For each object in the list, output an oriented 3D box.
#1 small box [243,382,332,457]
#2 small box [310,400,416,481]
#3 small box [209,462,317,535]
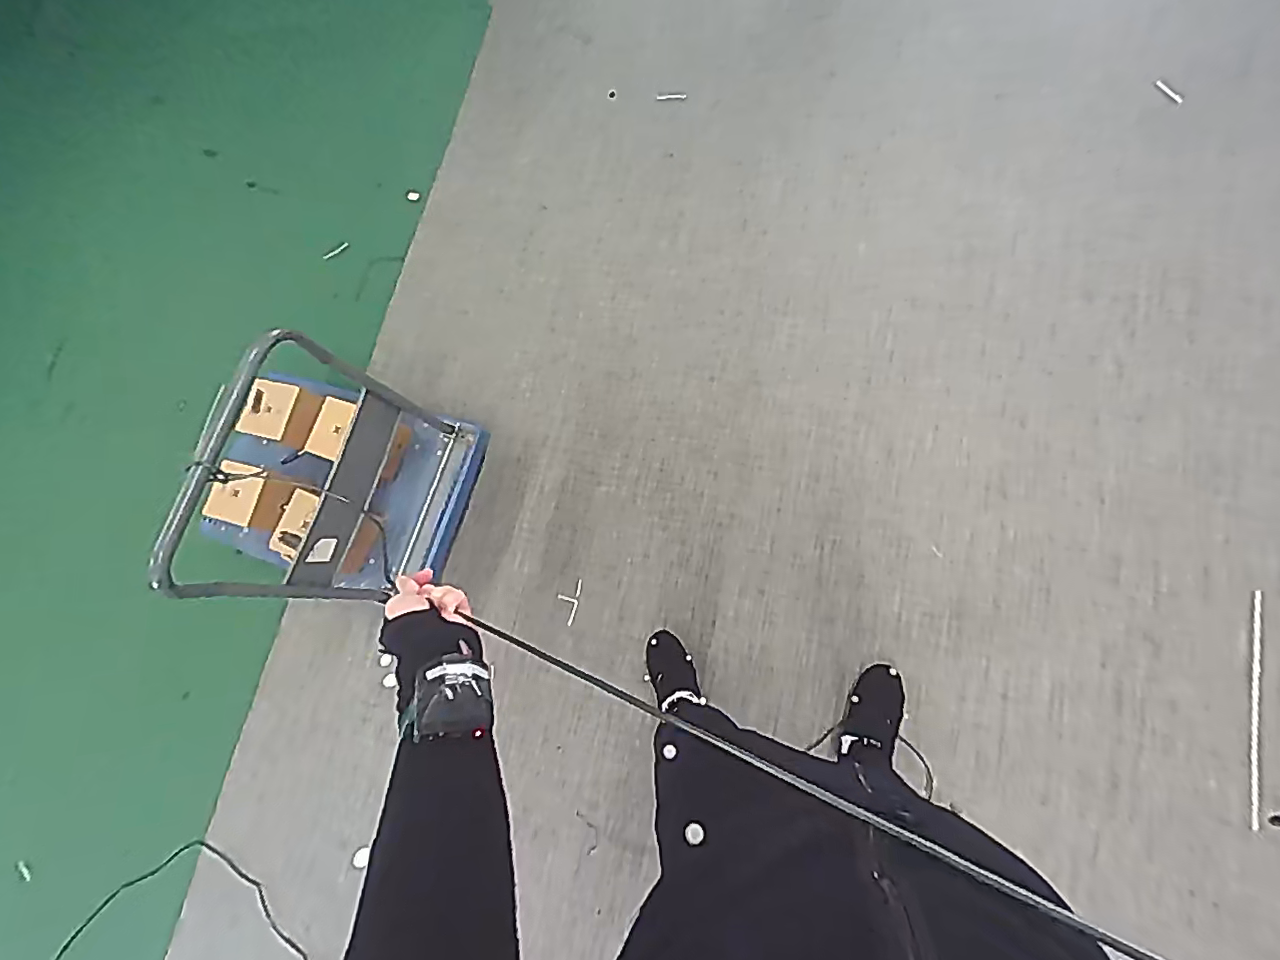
[{"bbox_3d":[-1.040,-0.179,1.640,0.179,0.176,0.168,12,81,16],"label":"small box"},{"bbox_3d":[-0.792,-0.109,1.558,0.179,0.176,0.168,17,81,17],"label":"small box"},{"bbox_3d":[-1.102,0.061,1.597,0.179,0.176,0.168,12,79,17],"label":"small box"}]
